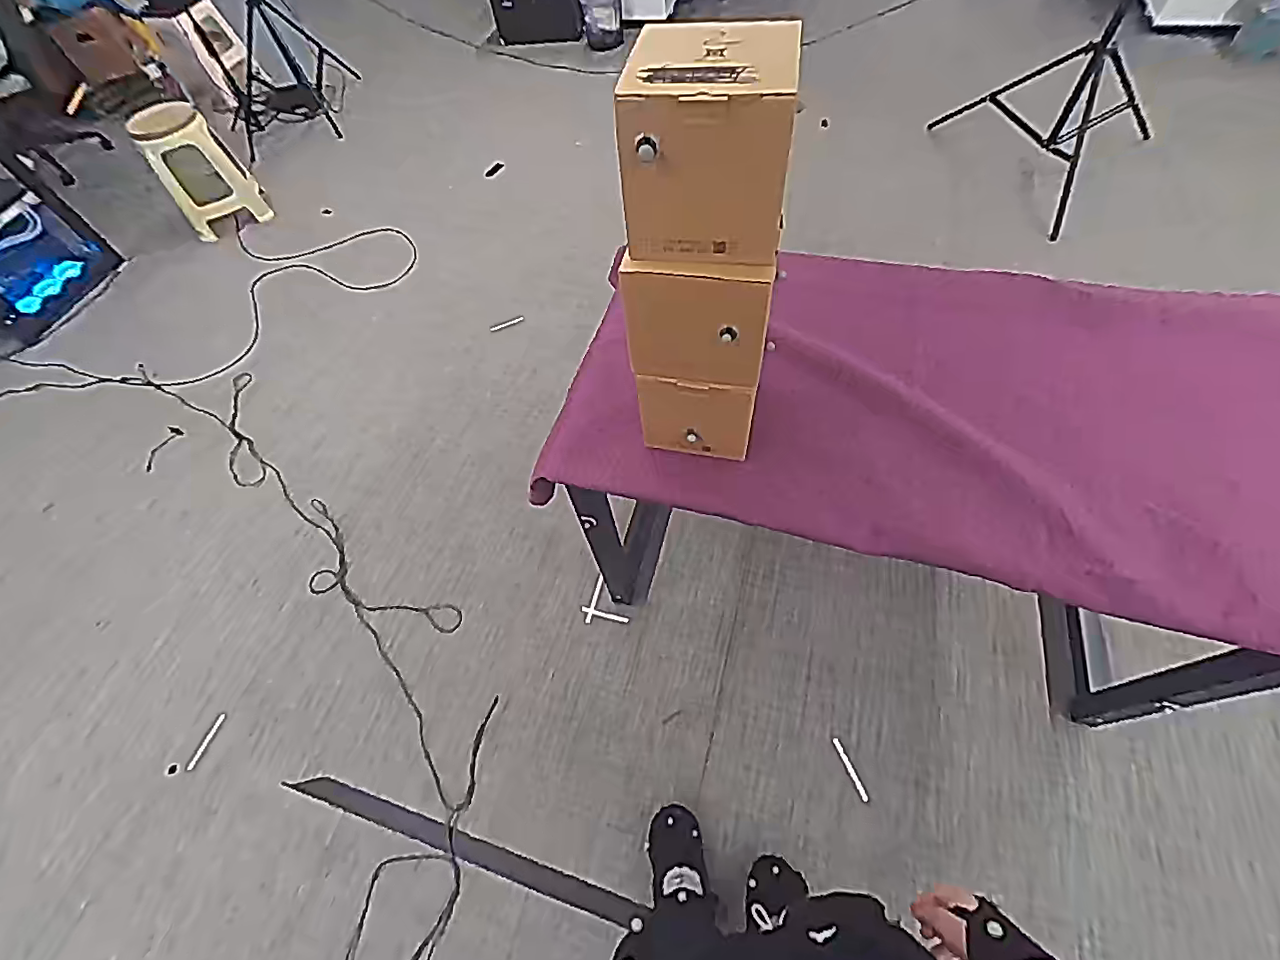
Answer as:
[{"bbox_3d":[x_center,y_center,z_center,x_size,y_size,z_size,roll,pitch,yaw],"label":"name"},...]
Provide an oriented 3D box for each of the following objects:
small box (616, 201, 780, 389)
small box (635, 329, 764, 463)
[{"bbox_3d":[0.080,-0.240,0.717,0.179,0.176,0.168,8,57,11],"label":"small box"},{"bbox_3d":[0.096,-0.152,0.852,0.168,0.176,0.179,9,59,12],"label":"small box"}]
